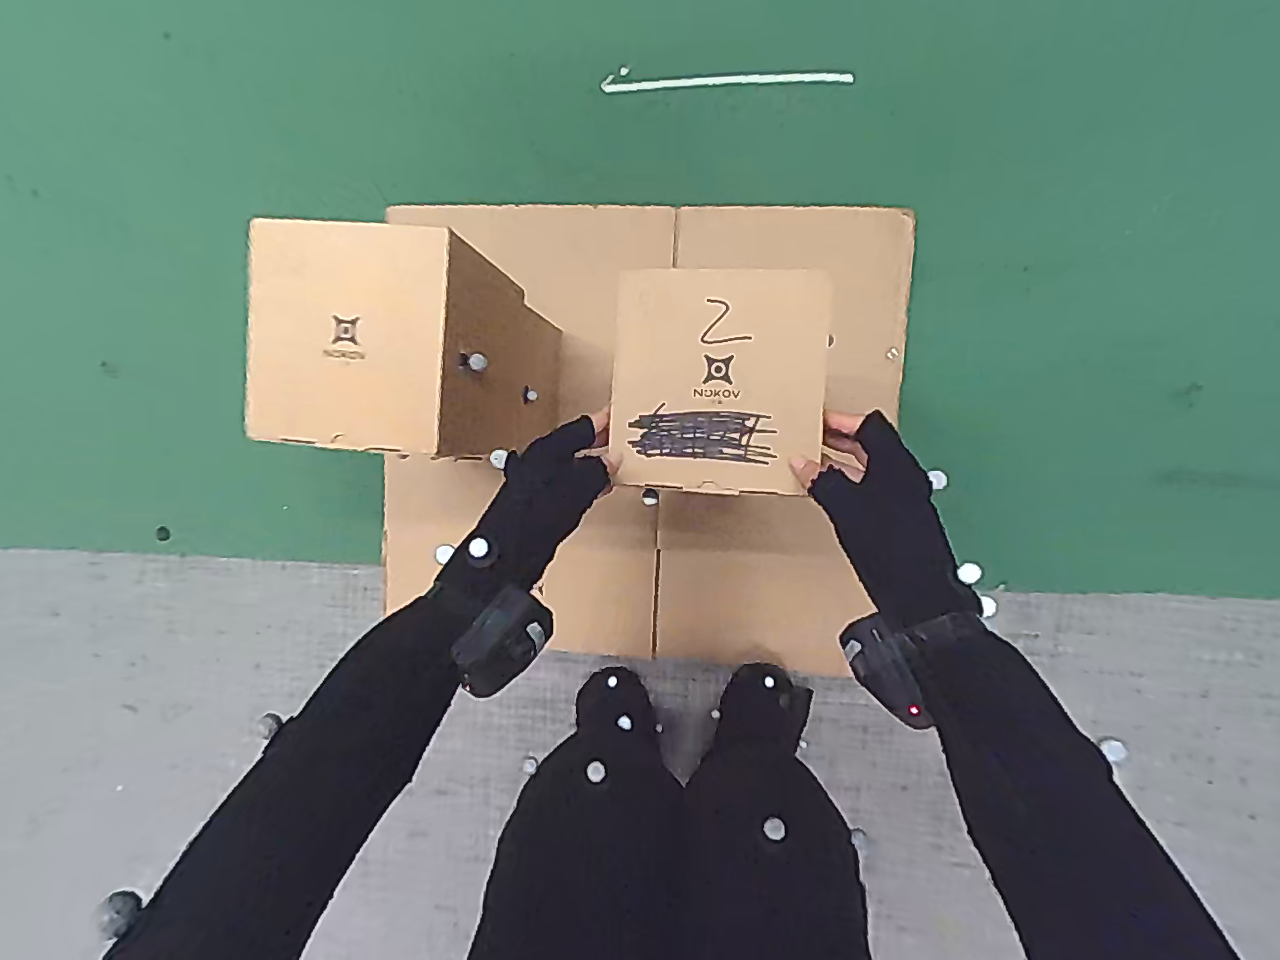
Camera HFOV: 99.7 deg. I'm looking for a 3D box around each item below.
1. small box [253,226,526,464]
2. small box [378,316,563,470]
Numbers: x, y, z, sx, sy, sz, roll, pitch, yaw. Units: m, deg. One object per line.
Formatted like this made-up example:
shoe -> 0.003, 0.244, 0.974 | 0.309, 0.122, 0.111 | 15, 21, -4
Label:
small box -> -0.214, -0.110, 0.504 | 0.168, 0.176, 0.179 | 6, 93, 7
small box -> -0.199, -0.108, 0.667 | 0.168, 0.176, 0.179 | 5, 93, 8
